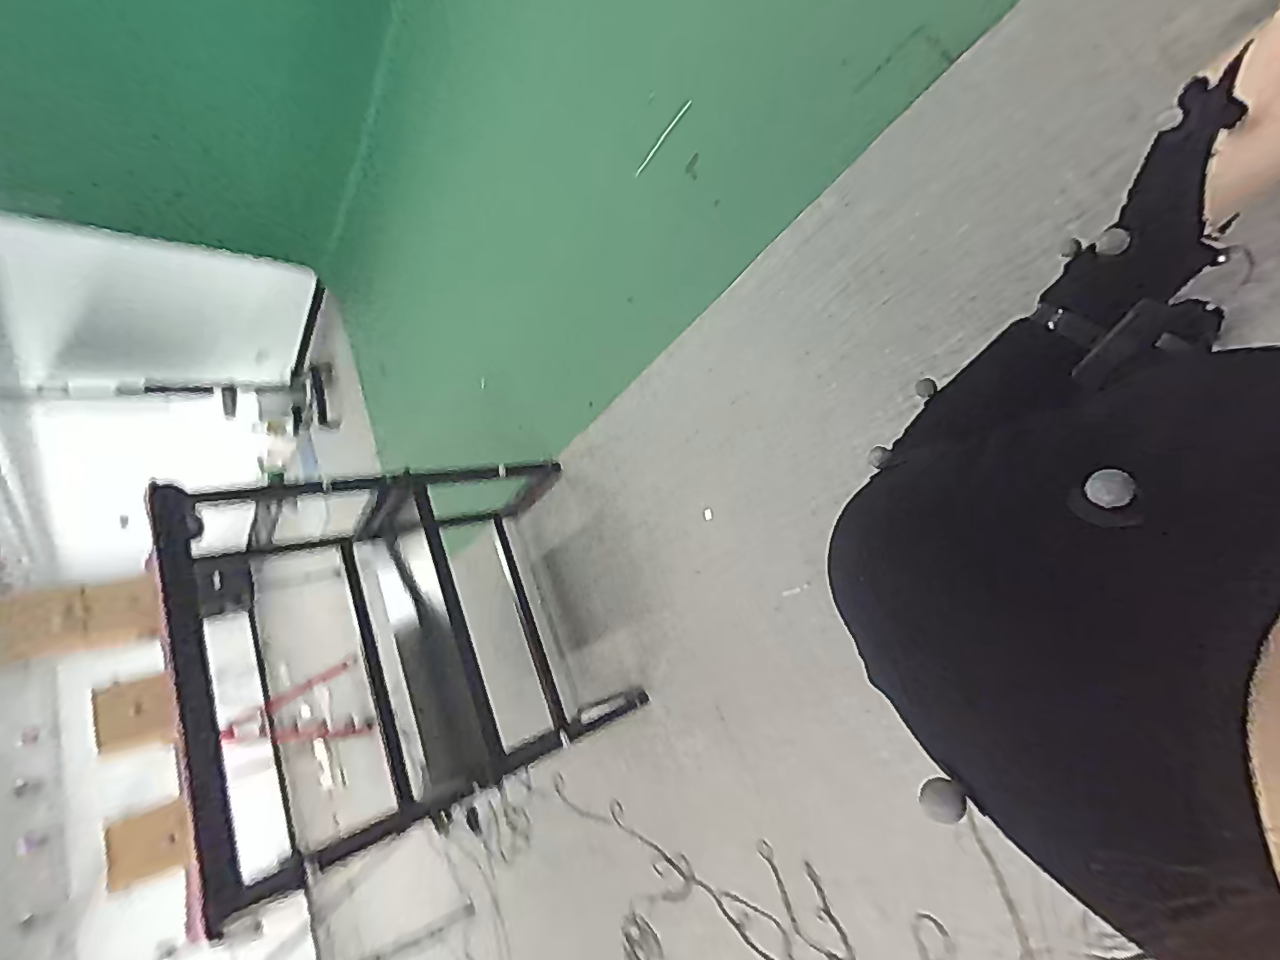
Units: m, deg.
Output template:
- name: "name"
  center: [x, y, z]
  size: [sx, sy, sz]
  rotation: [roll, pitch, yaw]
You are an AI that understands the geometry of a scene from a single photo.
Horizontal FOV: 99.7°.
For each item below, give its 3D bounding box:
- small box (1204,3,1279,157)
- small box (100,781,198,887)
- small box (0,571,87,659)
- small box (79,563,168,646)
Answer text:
- name: "small box"
  center: [1.086, -0.680, 0.886]
  size: [0.179, 0.176, 0.168]
  rotation: [-42, 66, 40]
- name: "small box"
  center: [-1.229, 0.888, 1.361]
  size: [0.179, 0.176, 0.168]
  rotation: [-43, 64, 41]
- name: "small box"
  center: [-1.590, 0.356, 1.432]
  size: [0.179, 0.176, 0.168]
  rotation: [-33, 73, 42]
- name: "small box"
  center: [-1.471, 0.351, 1.544]
  size: [0.179, 0.176, 0.168]
  rotation: [-36, 69, 41]
